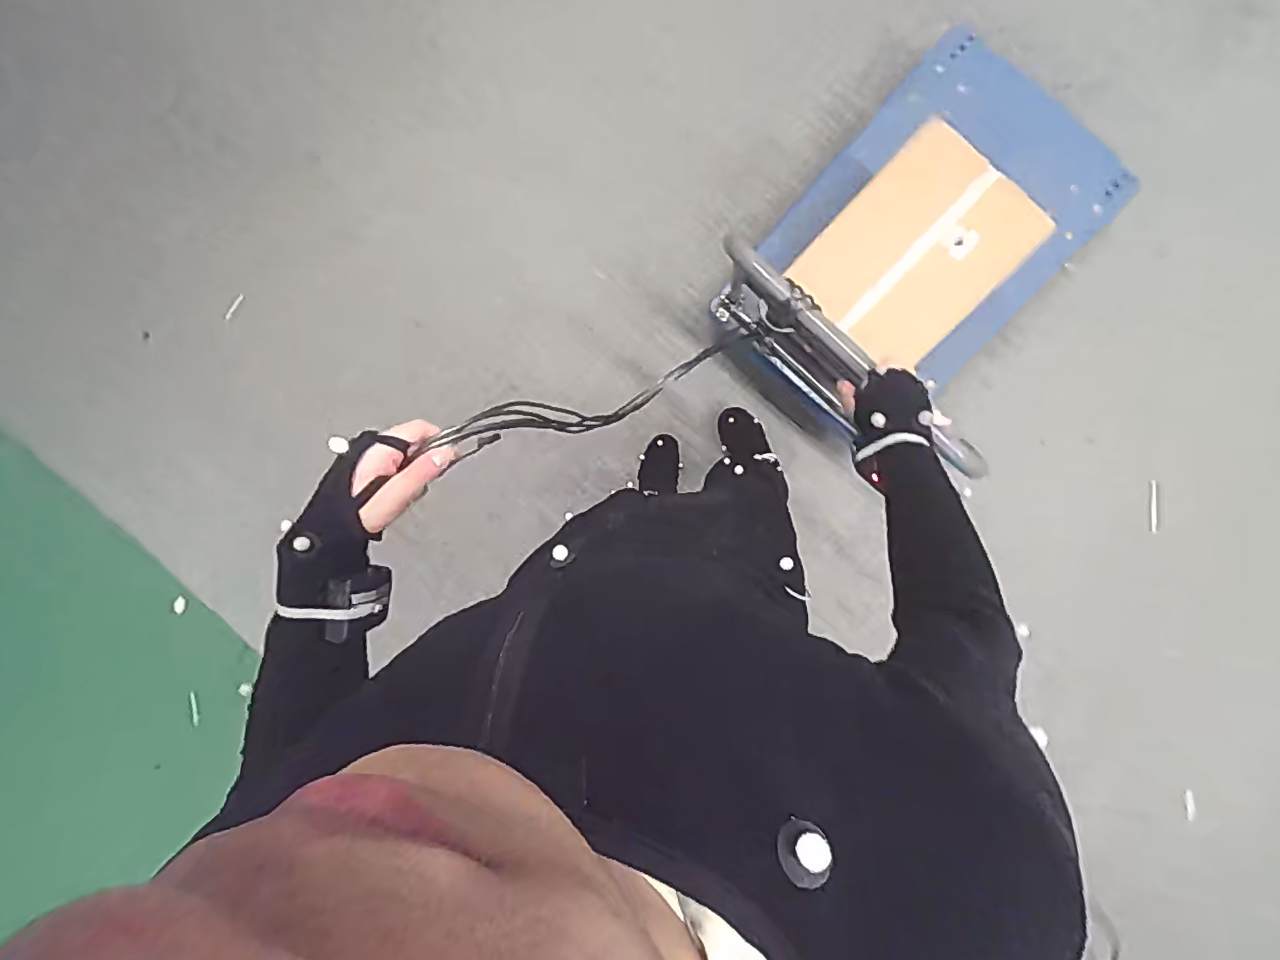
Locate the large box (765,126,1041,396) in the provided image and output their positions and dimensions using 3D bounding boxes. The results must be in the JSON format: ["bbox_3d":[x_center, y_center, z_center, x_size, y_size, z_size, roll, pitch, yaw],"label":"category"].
[{"bbox_3d":[0.540,-0.444,1.205,0.320,0.320,0.408,45,98,0],"label":"large box"}]
